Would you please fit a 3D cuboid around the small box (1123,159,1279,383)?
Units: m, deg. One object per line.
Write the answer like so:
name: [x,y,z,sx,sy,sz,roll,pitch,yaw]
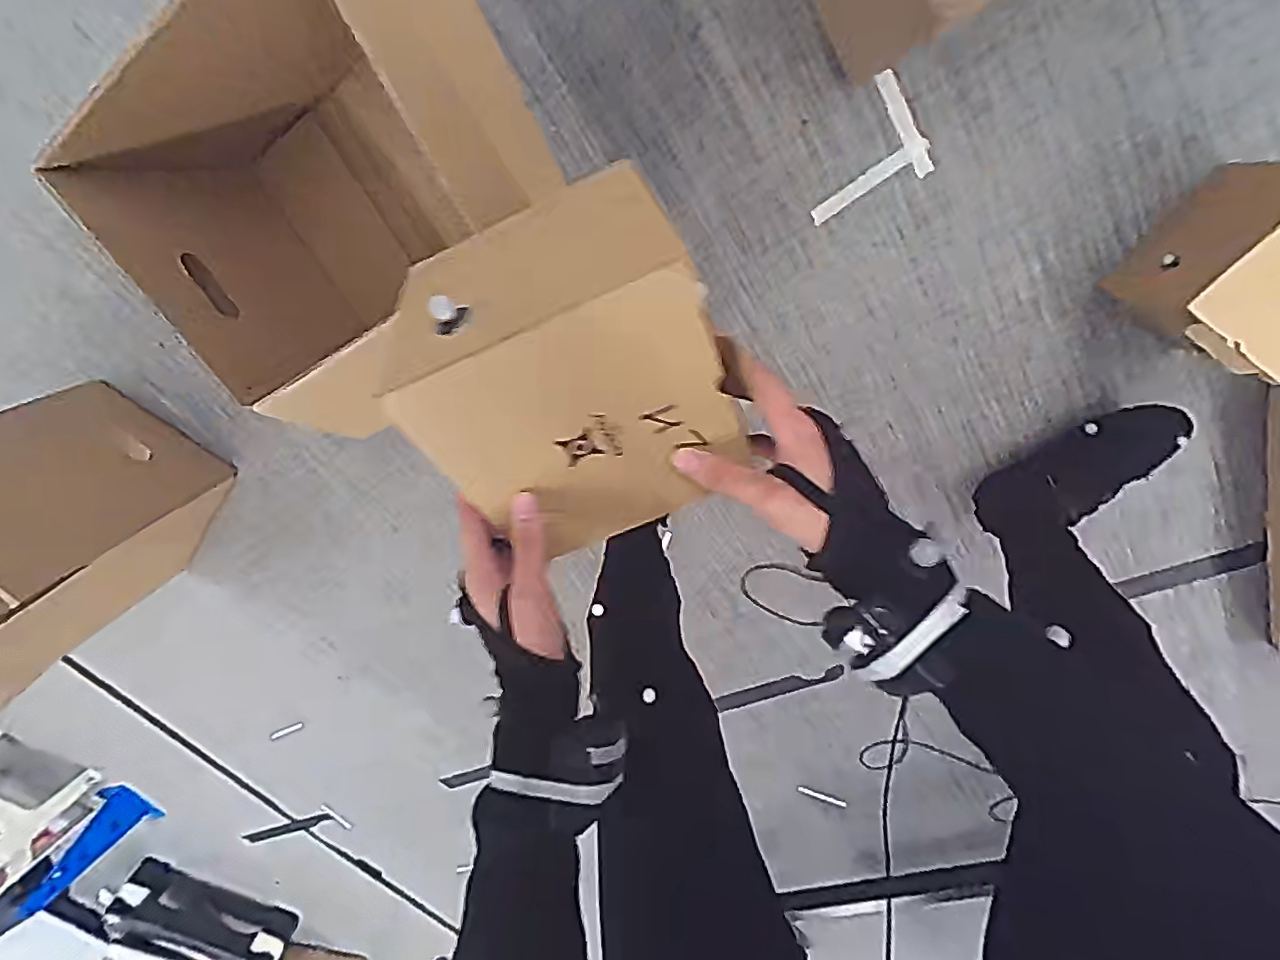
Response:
small box: [0.740,-0.252,0.645,0.168,0.176,0.179,32,119,-9]
